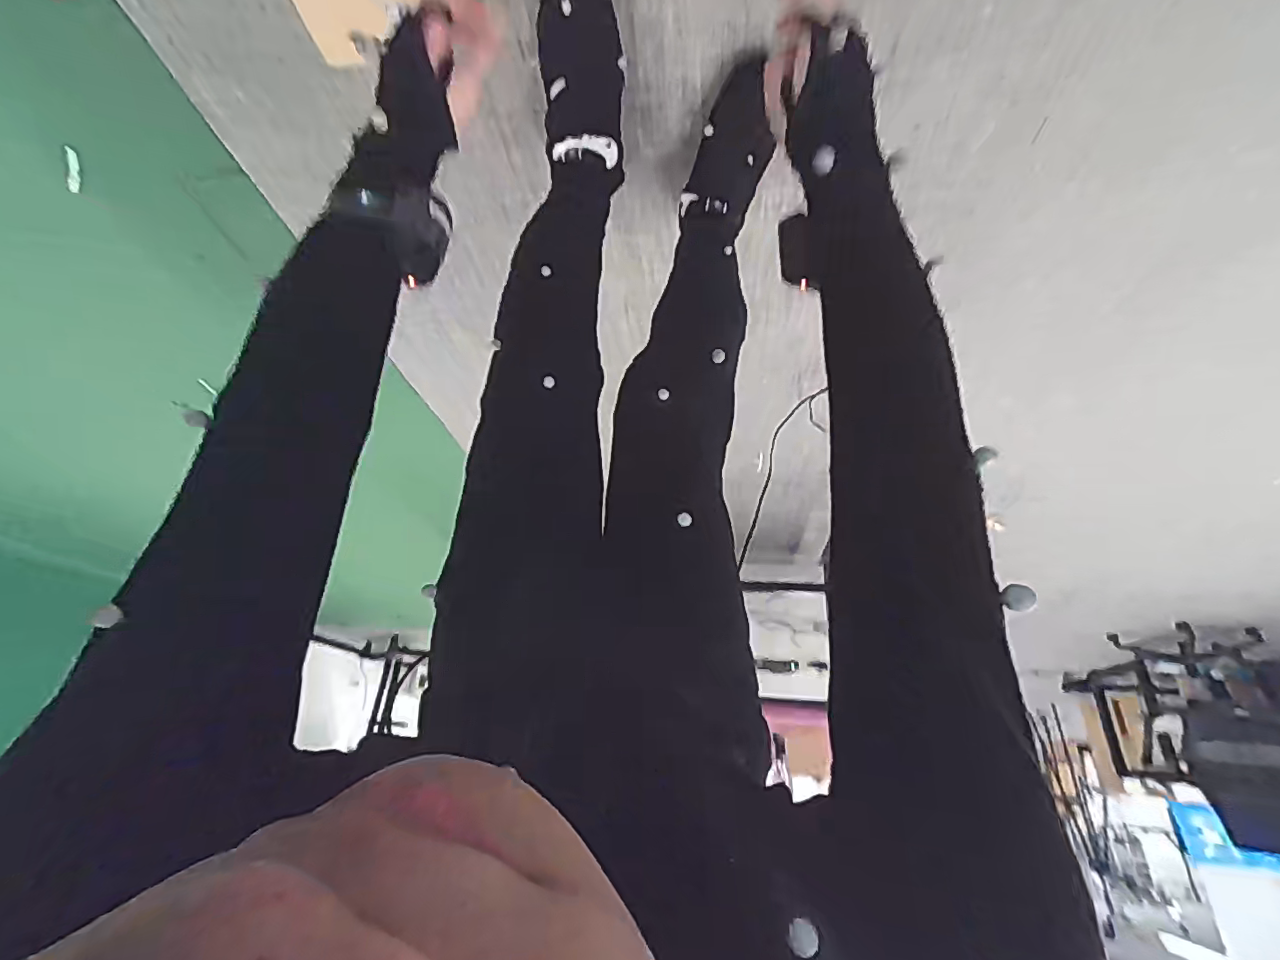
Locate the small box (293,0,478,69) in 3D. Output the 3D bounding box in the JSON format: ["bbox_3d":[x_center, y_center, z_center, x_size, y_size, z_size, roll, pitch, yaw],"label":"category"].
[{"bbox_3d":[-0.306,-0.620,0.623,0.168,0.176,0.179,1,151,8],"label":"small box"}]
